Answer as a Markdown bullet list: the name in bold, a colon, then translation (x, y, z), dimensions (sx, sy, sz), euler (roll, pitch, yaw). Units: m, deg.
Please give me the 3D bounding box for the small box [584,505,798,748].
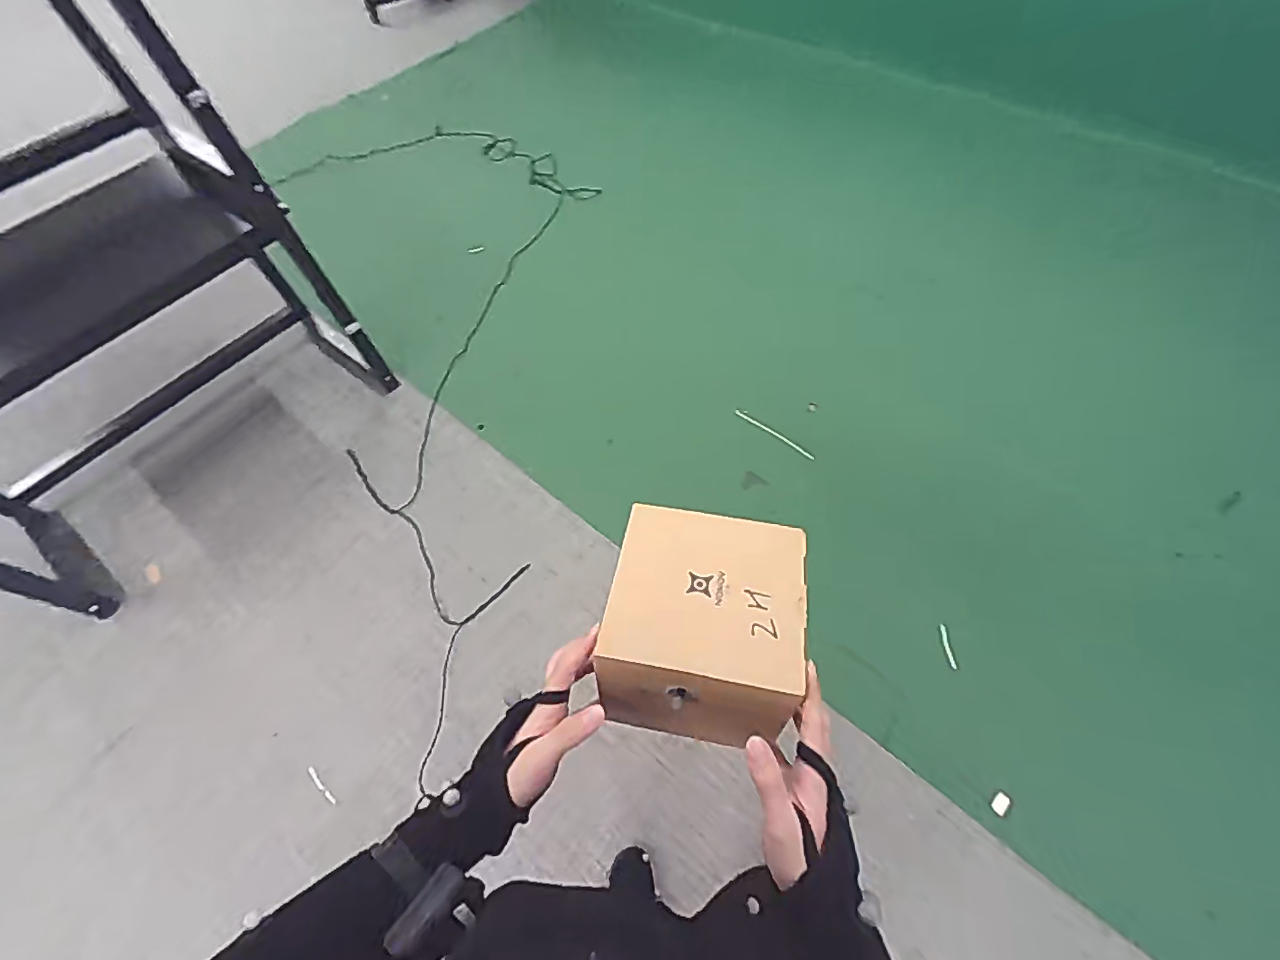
- **small box**: translation (0.053, 0.150, 0.544), dimensions (0.179, 0.176, 0.168), euler (9, 49, 7)
